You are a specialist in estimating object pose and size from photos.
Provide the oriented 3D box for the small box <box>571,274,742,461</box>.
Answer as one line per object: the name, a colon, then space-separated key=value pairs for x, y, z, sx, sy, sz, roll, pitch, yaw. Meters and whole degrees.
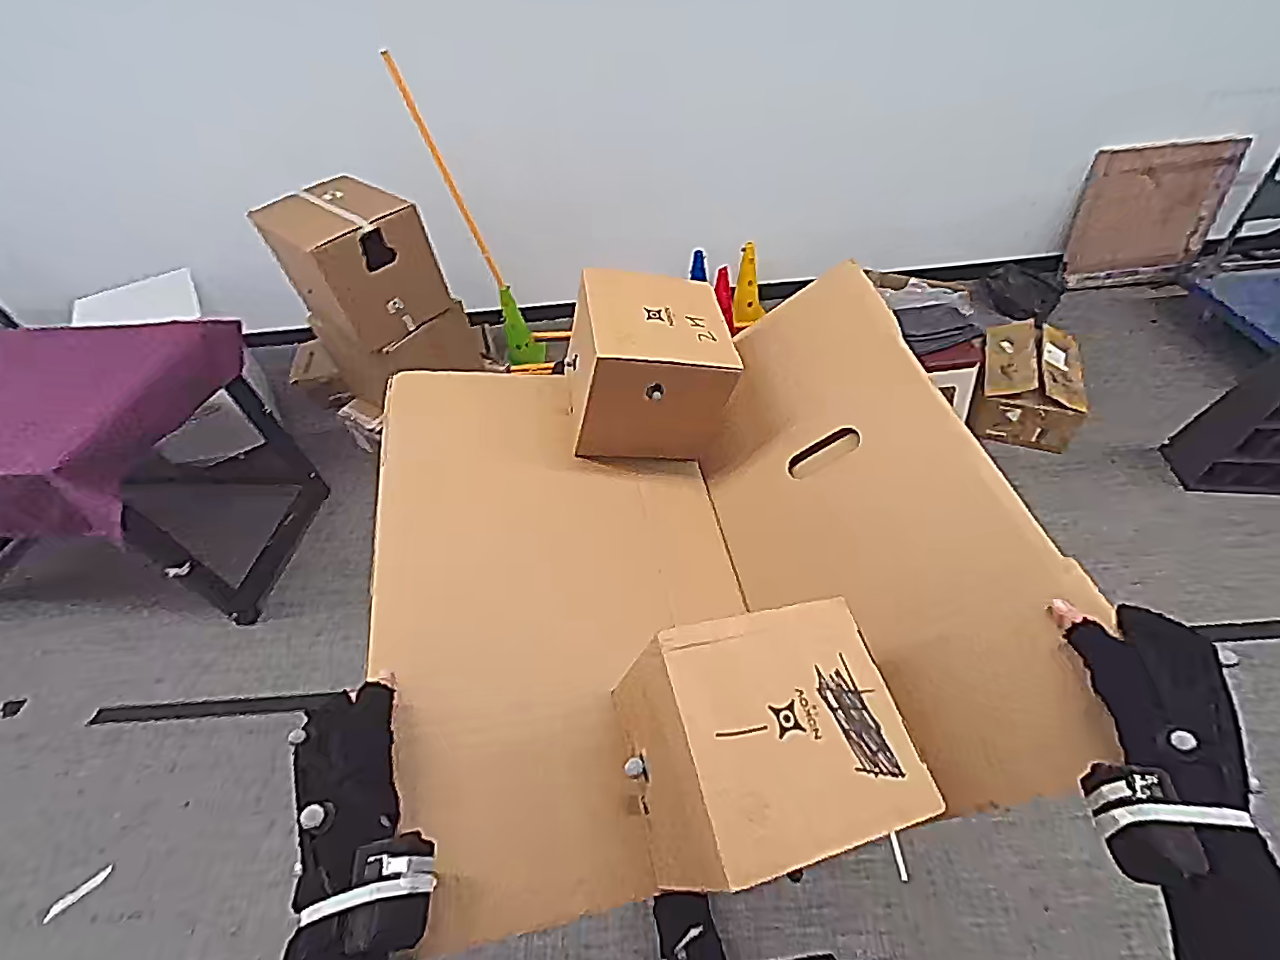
small box: x=0.006 y=-0.139 z=0.706 sx=0.179 sy=0.176 sz=0.168 roll=2 pitch=54 yaw=-16
